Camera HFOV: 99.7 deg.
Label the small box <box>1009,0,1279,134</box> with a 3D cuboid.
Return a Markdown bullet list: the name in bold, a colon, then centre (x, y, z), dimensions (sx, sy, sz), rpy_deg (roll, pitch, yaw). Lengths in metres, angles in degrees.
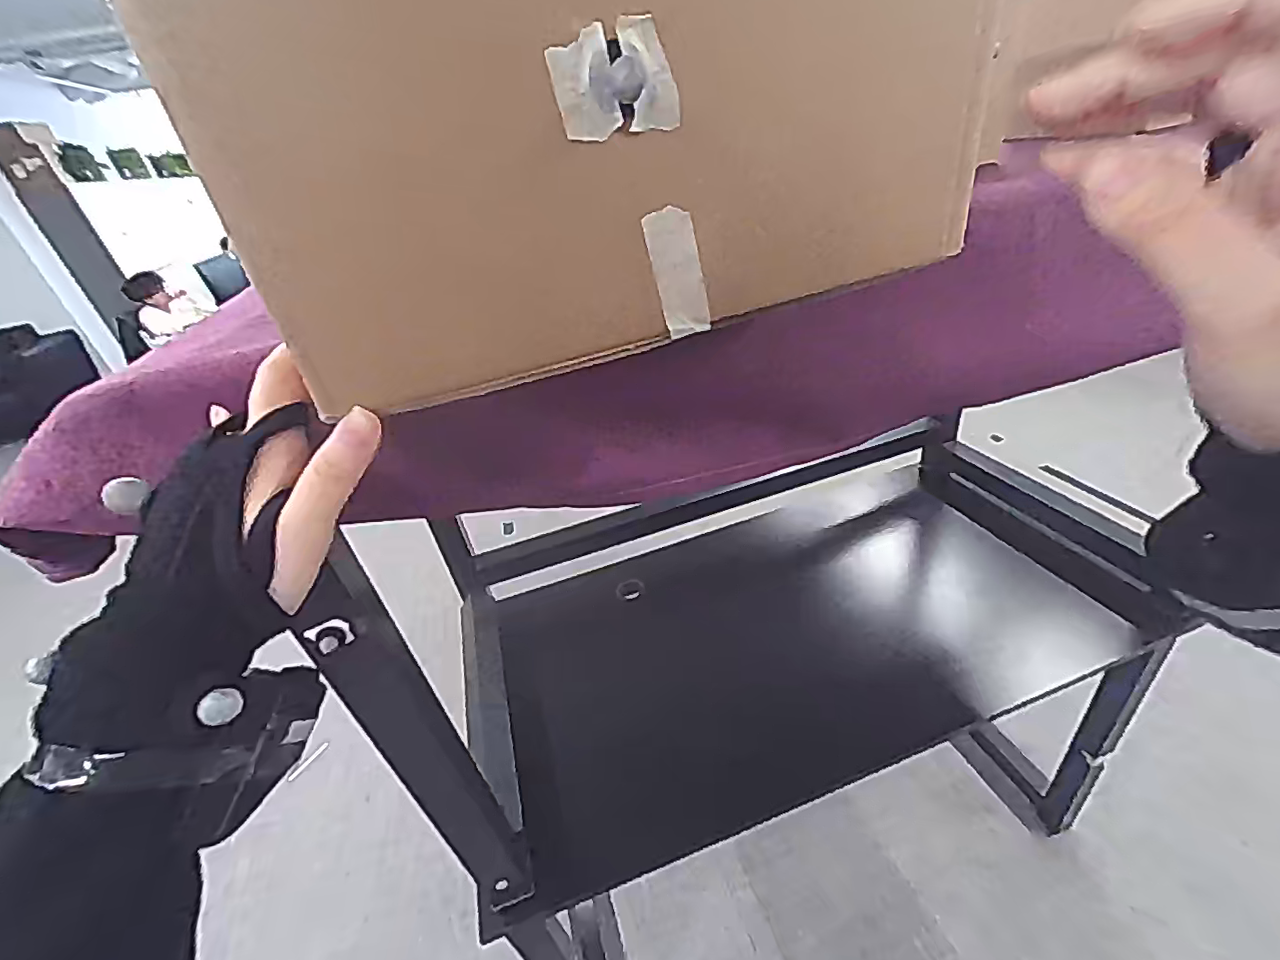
- **small box**: centre (0.529, -0.470, 0.562), dimensions (0.179, 0.176, 0.168), rpy_deg (-17, 32, -11)
